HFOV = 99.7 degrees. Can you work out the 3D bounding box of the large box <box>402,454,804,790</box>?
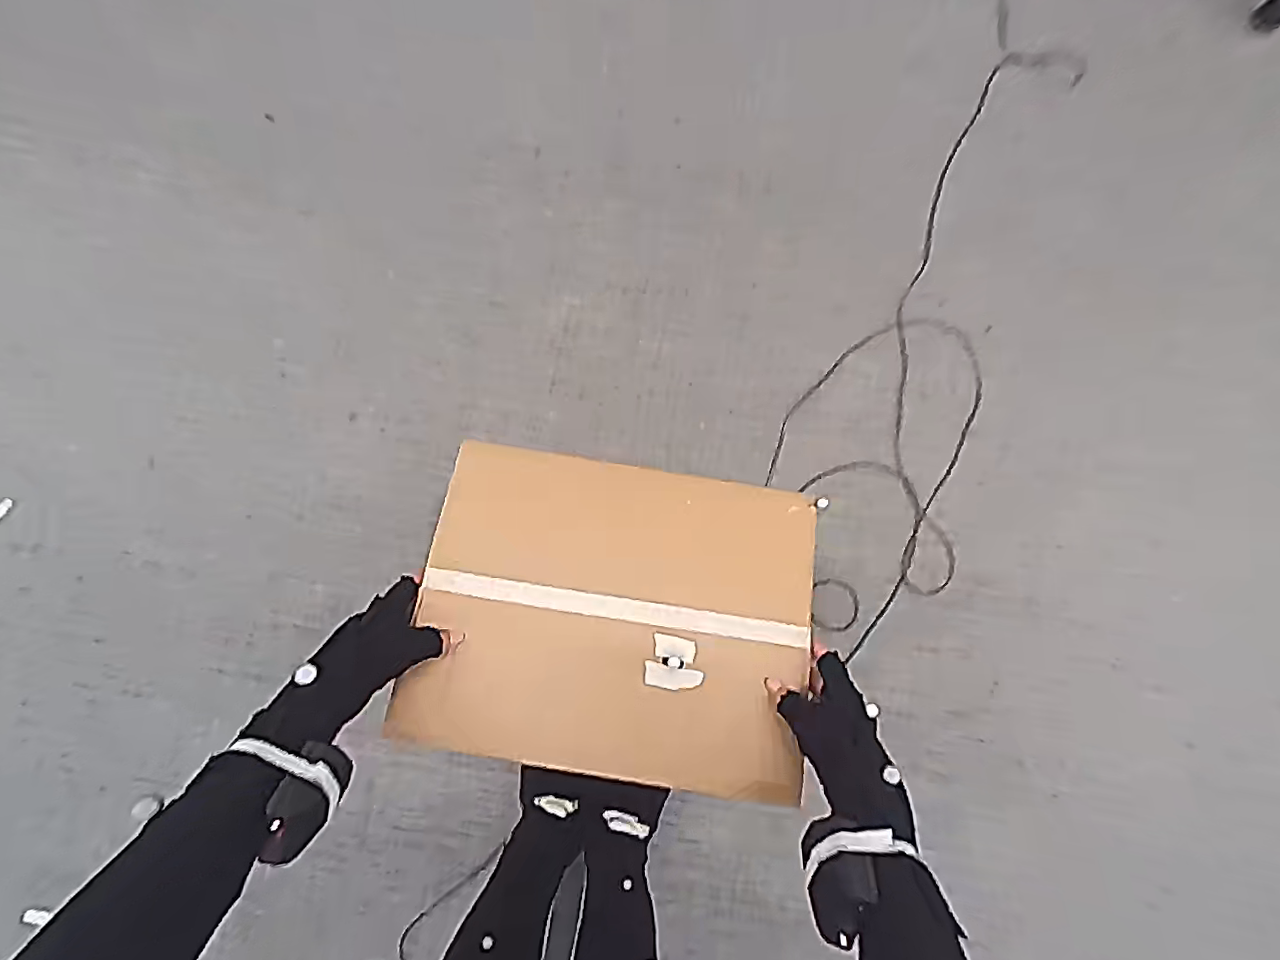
[{"bbox_3d":[-0.033,0.186,0.728,0.408,0.320,0.320,9,73,0],"label":"large box"}]
